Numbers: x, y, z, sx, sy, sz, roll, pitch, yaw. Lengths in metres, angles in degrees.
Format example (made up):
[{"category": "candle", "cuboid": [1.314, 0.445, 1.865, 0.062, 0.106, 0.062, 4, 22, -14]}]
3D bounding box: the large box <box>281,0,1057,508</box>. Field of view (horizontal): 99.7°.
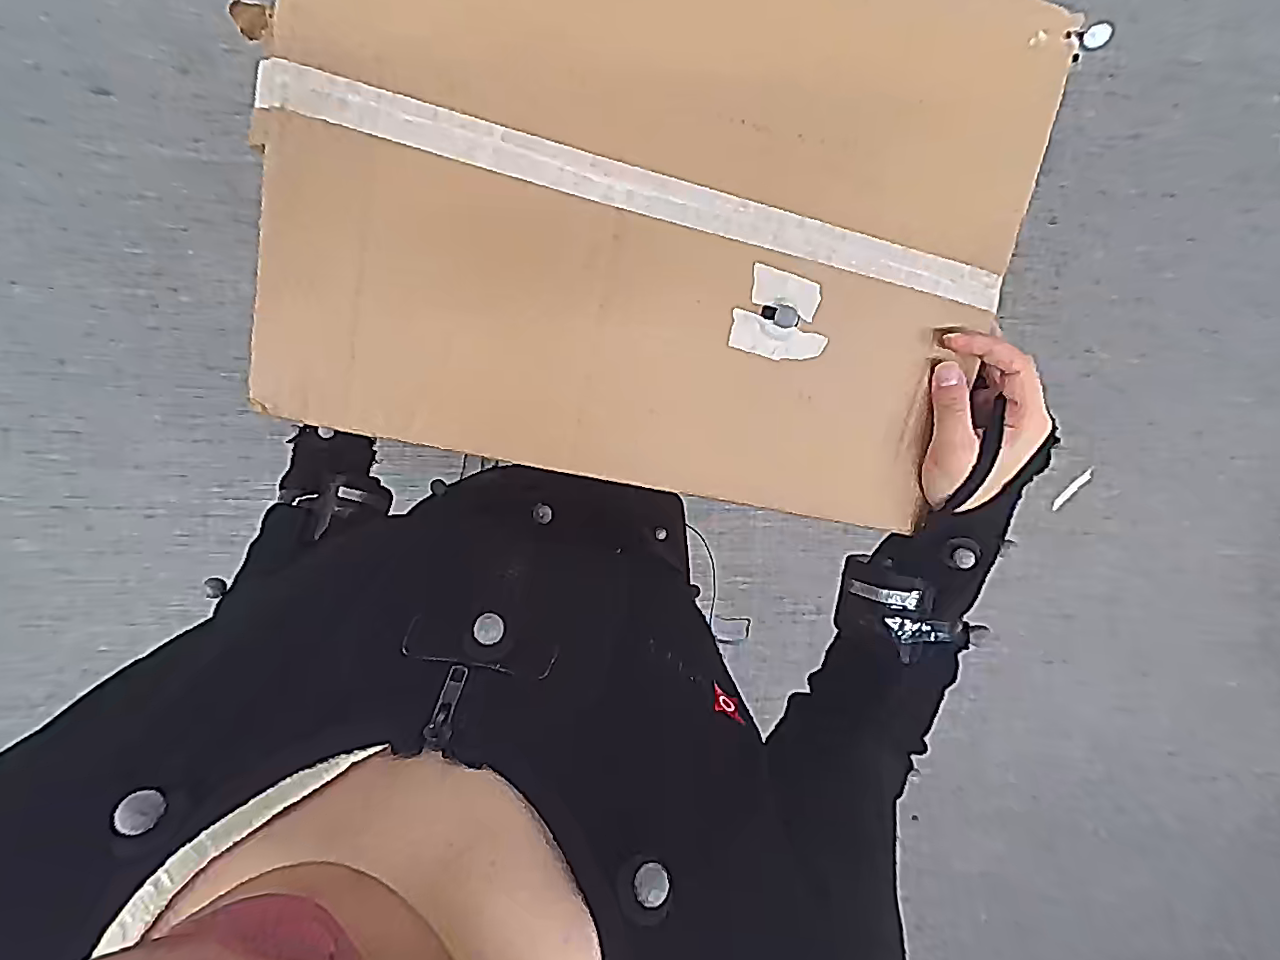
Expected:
[{"category": "large box", "cuboid": [0.000, -0.187, 0.445, 0.408, 0.320, 0.320, 10, 101, -13]}]
